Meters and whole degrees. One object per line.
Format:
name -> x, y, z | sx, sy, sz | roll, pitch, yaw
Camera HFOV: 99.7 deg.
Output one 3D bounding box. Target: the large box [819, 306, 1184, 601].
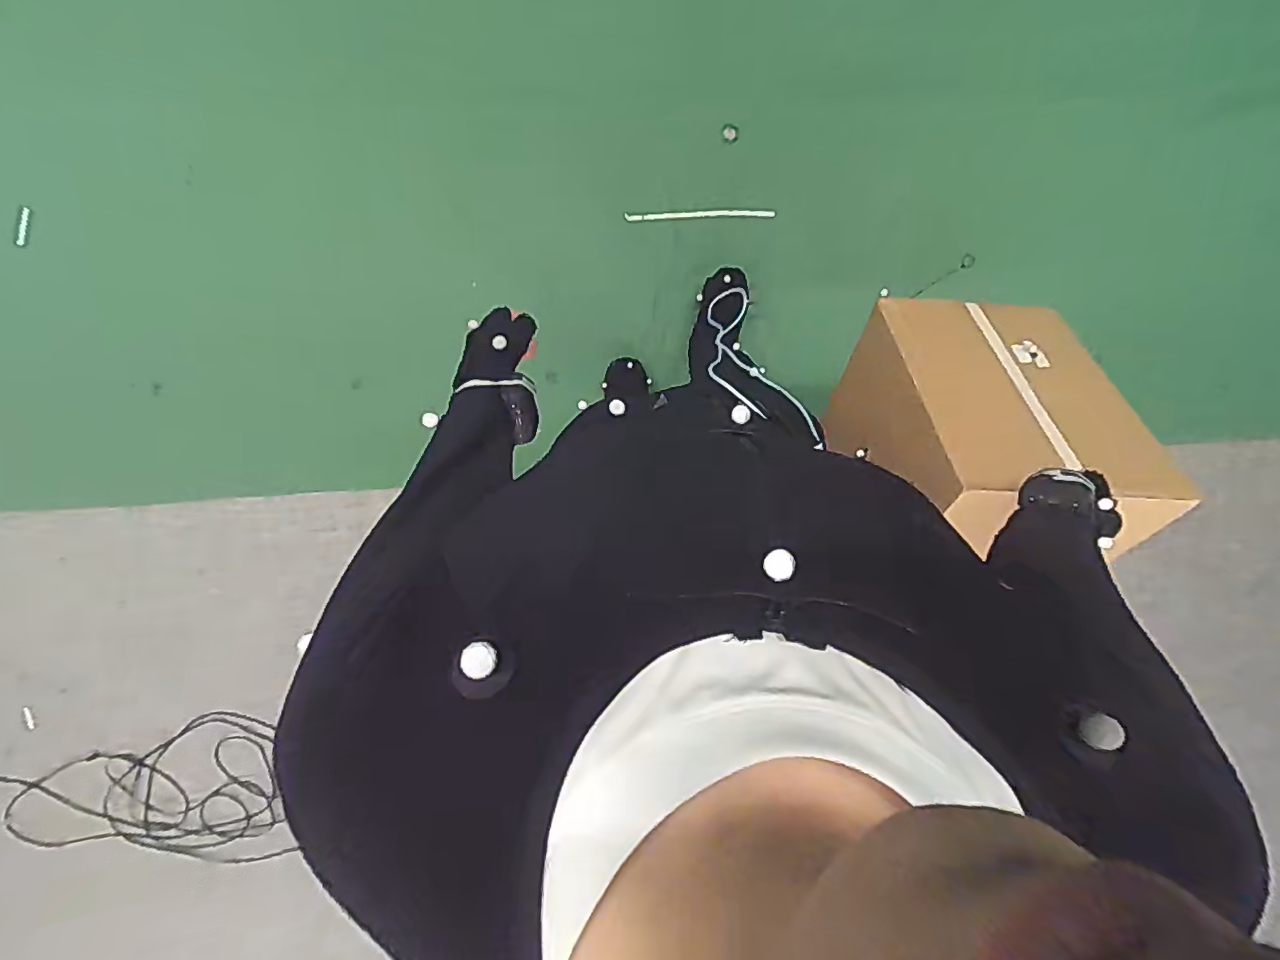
large box -> 0.537, -0.041, 0.921 | 0.320, 0.408, 0.320 | 3, 141, -4
